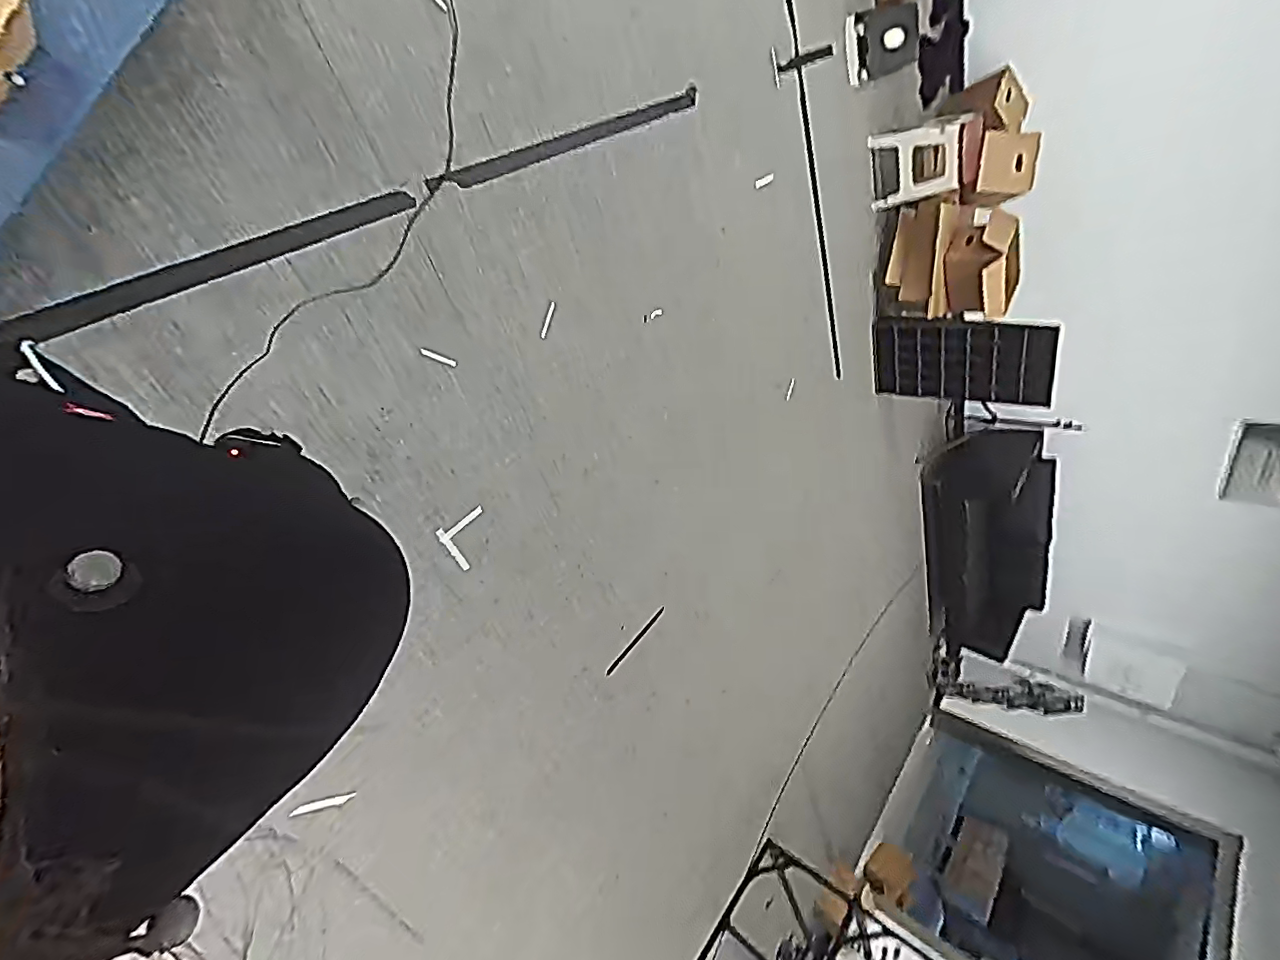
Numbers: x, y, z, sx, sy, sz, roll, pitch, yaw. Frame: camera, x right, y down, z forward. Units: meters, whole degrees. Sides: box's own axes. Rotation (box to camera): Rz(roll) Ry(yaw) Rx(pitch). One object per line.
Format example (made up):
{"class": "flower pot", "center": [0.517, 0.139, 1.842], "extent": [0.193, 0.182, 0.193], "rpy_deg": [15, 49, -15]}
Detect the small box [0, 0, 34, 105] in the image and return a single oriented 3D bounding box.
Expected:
{"class": "small box", "center": [-0.945, -0.609, 0.697], "extent": [0.179, 0.176, 0.168], "rpy_deg": [27, 81, -46]}
